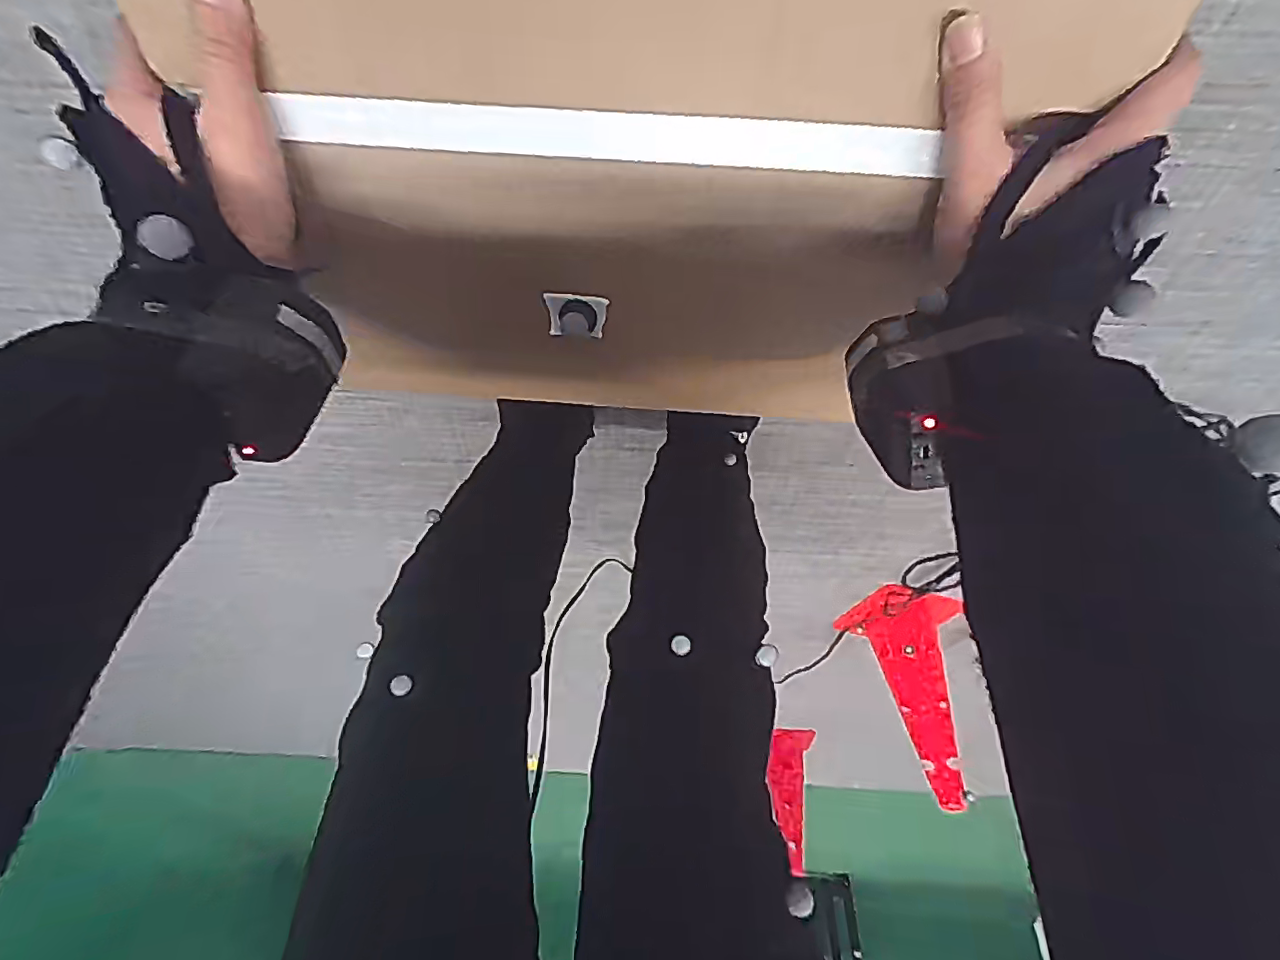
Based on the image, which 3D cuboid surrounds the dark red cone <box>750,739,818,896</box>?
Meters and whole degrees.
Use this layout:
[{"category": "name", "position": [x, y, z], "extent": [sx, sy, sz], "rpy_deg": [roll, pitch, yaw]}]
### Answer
[{"category": "dark red cone", "position": [0.447, 0.982, 1.597], "extent": [0.202, 0.394, 0.201], "rpy_deg": [-3, 140, 6]}]

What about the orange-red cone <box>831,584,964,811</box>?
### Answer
[{"category": "orange-red cone", "position": [0.518, 0.402, 0.999], "extent": [0.199, 0.360, 0.198], "rpy_deg": [15, 137, -14]}]
